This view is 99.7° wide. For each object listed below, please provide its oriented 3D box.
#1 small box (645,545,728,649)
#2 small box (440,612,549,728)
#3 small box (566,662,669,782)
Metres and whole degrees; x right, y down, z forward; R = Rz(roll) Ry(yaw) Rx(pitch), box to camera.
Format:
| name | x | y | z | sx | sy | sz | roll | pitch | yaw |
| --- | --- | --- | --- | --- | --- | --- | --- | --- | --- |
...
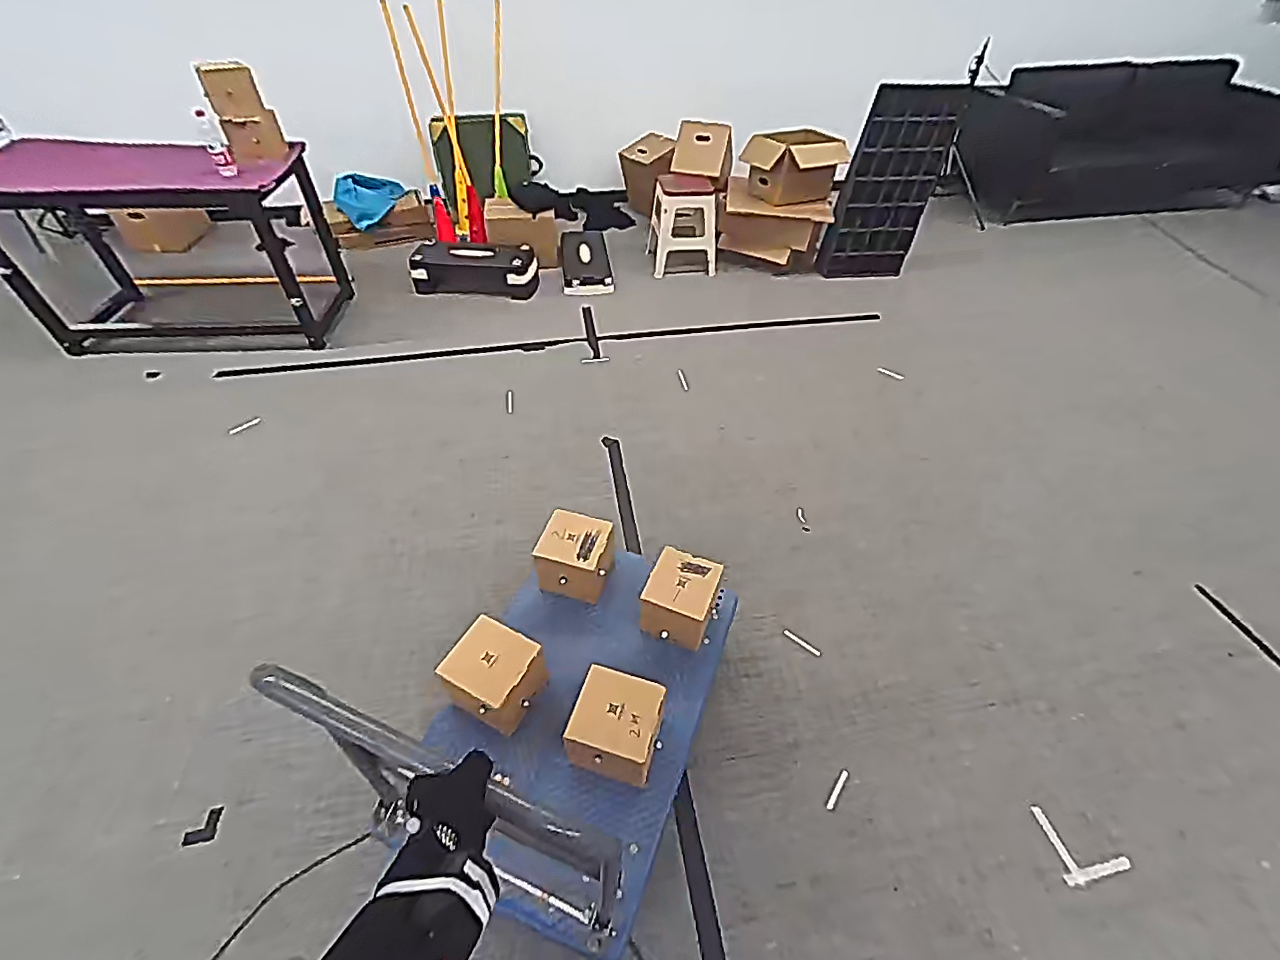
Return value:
| name | x | y | z | sx | sy | sz | roll | pitch | yaw |
| --- | --- | --- | --- | --- | --- | --- | --- | --- | --- |
| small box | 0.116 | 0.306 | 1.414 | 0.168 | 0.176 | 0.179 | 18 | 50 | 16 |
| small box | -0.331 | 0.448 | 1.266 | 0.179 | 0.176 | 0.168 | 23 | 49 | 17 |
| small box | -0.046 | 0.535 | 1.190 | 0.179 | 0.176 | 0.168 | 14 | 48 | 12 |
